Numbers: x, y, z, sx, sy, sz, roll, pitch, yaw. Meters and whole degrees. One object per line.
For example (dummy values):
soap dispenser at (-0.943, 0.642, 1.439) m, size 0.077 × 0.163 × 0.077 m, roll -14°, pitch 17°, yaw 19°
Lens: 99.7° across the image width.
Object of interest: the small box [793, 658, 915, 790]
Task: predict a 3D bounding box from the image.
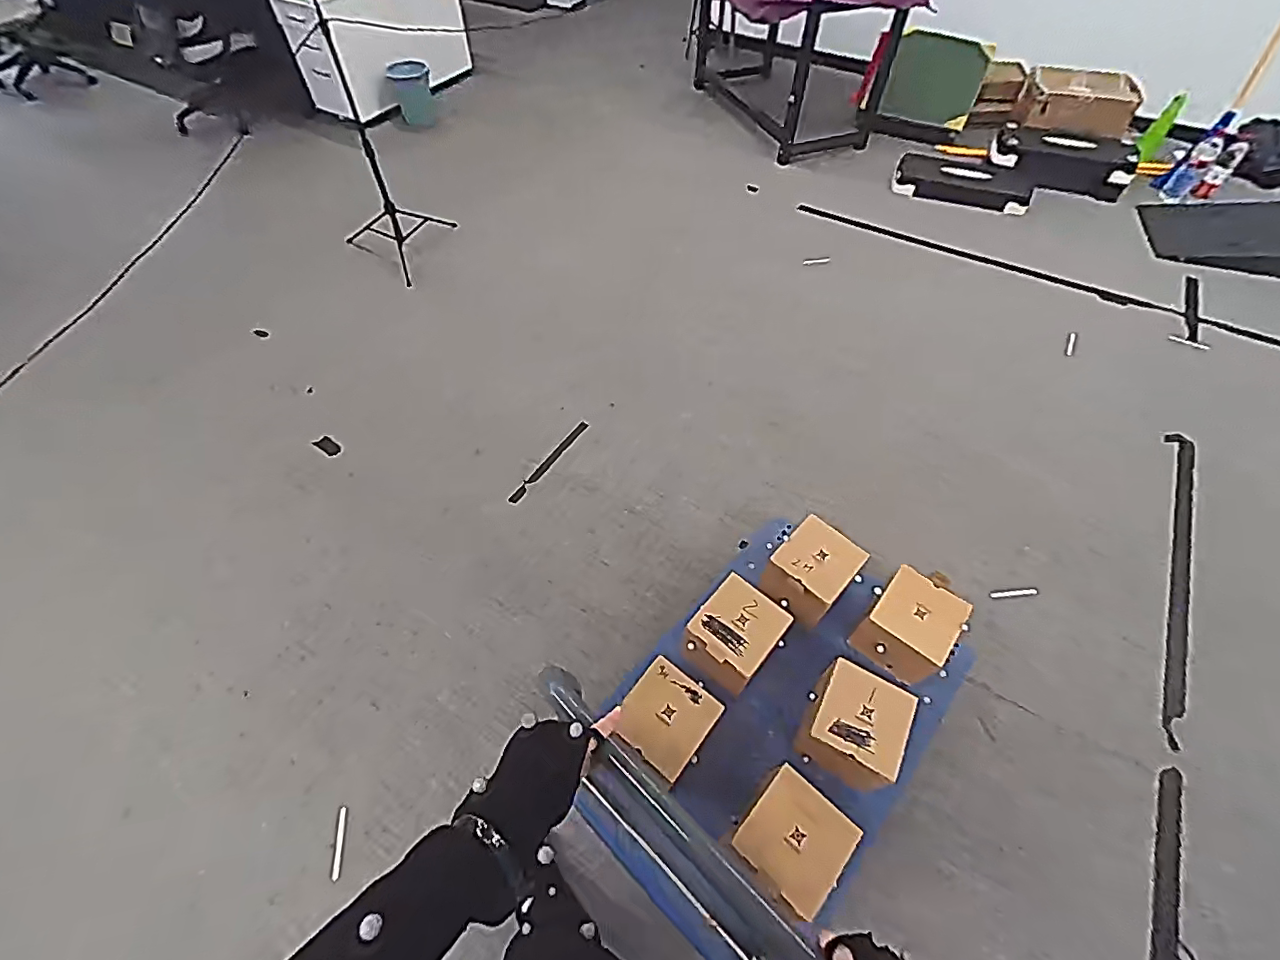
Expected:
small box at (0.434, 0.510, 1.121) m, size 0.168 × 0.176 × 0.179 m, roll 27°, pitch 58°, yaw 17°

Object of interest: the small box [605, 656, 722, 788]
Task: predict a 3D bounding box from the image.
small box at (0.047, 0.504, 1.118) m, size 0.168 × 0.176 × 0.179 m, roll 35°, pitch 62°, yaw 20°

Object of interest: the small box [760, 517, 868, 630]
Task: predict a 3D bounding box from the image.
small box at (0.413, 0.230, 1.317) m, size 0.168 × 0.176 × 0.179 m, roll 39°, pitch 64°, yaw 24°

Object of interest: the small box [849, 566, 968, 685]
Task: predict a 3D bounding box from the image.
small box at (0.608, 0.340, 1.246) m, size 0.168 × 0.176 × 0.179 m, roll 35°, pitch 61°, yaw 22°

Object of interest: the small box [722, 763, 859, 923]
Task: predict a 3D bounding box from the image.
small box at (0.268, 0.671, 1.006) m, size 0.168 × 0.176 × 0.179 m, roll 38°, pitch 62°, yaw 23°
